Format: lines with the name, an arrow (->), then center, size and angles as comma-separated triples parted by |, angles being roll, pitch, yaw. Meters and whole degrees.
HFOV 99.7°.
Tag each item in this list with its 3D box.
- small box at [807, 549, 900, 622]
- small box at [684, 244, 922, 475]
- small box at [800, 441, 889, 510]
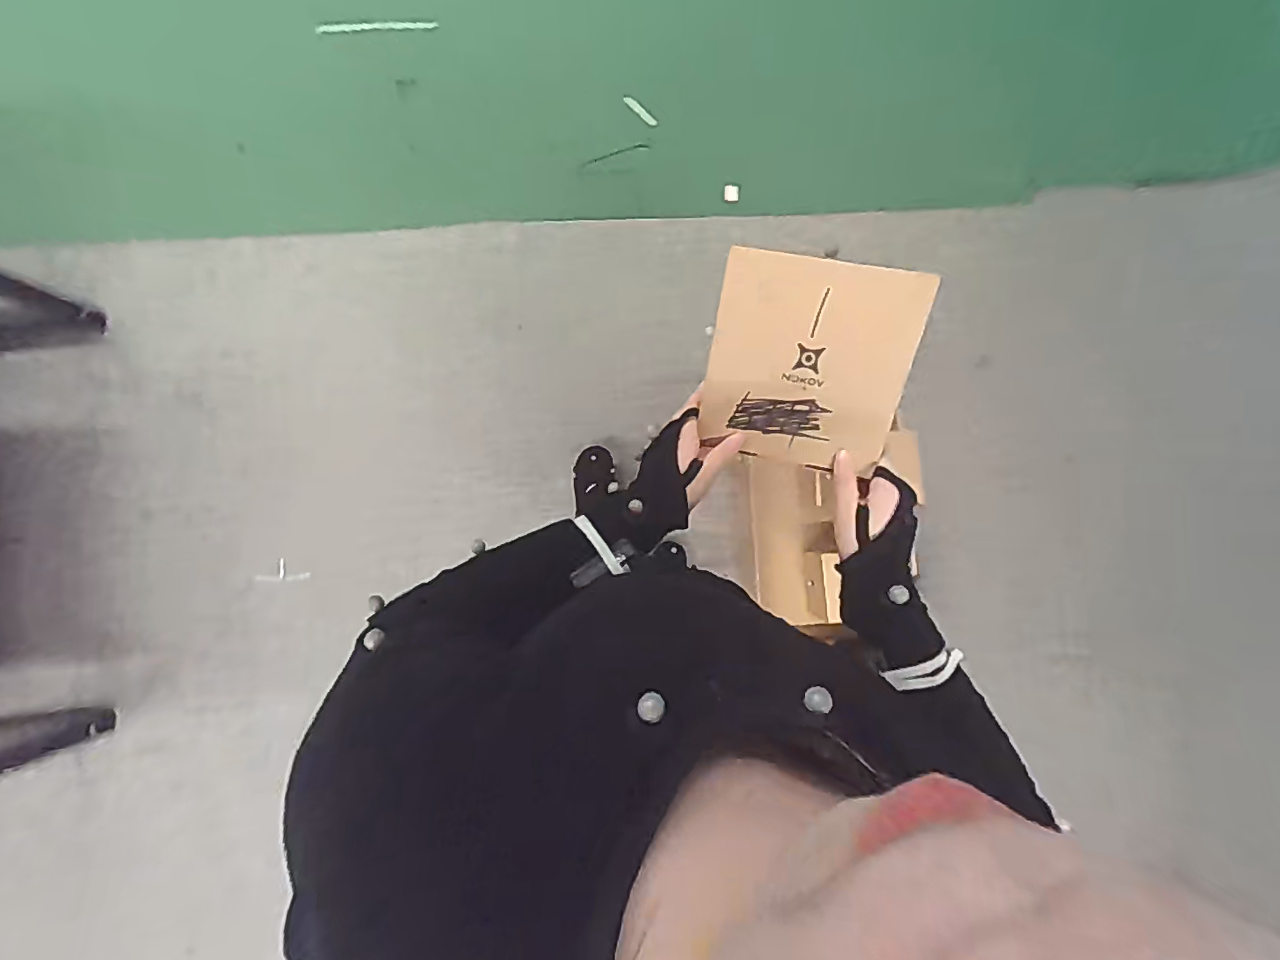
small box -> 0.532, 0.264, 1.375 | 0.179, 0.176, 0.168 | -3, 85, 0
small box -> 0.148, -0.127, 0.535 | 0.168, 0.176, 0.179 | 11, 113, 8
small box -> 0.522, -0.009, 1.402 | 0.179, 0.176, 0.168 | 1, 86, 0
